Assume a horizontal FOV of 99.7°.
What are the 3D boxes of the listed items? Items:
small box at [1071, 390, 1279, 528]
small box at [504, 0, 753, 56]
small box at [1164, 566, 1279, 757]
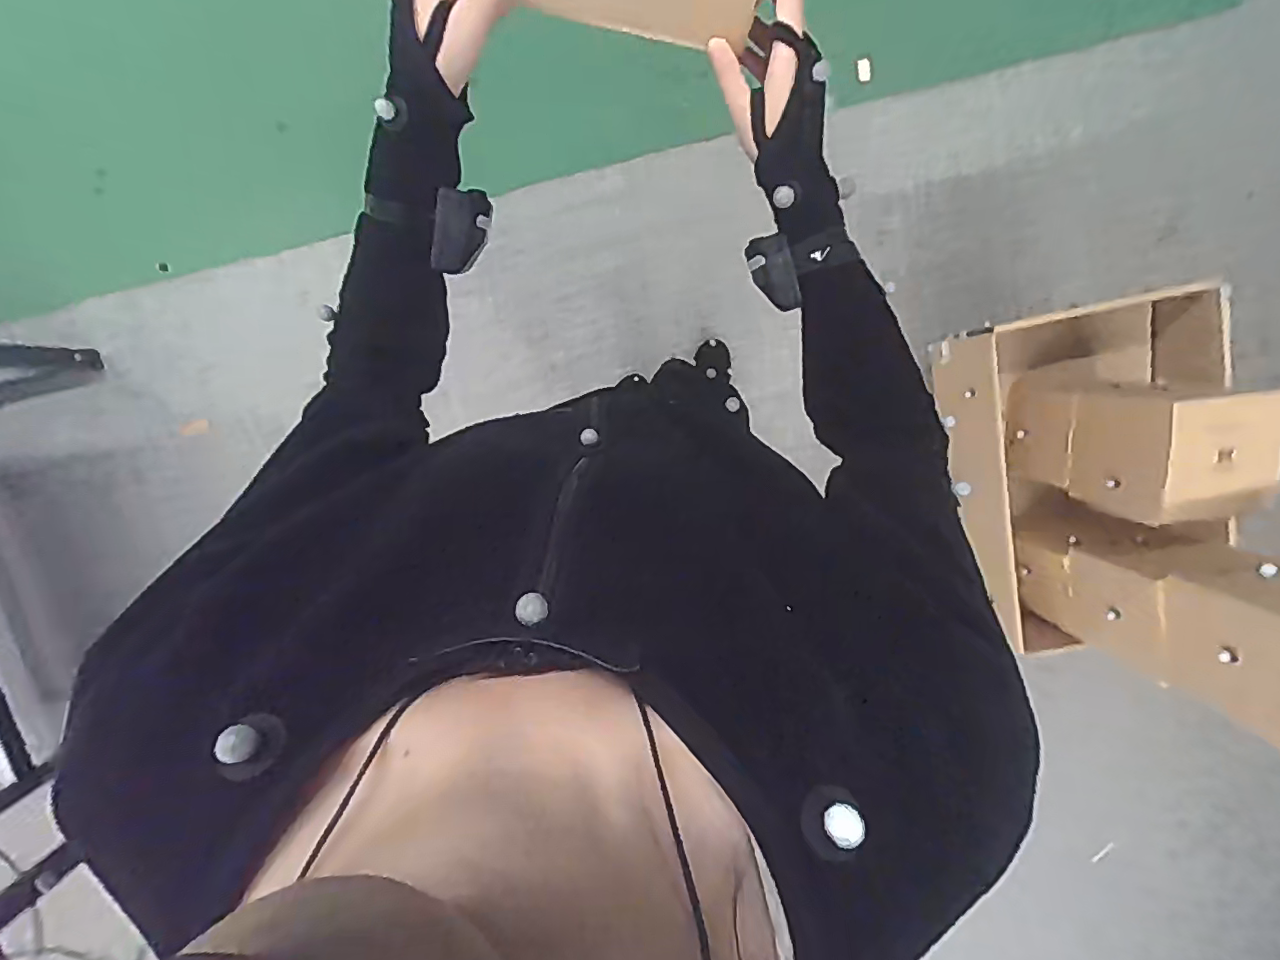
[{"bbox_3d":[0.804,-0.039,0.824,0.168,0.176,0.179,-5,102,0],"label":"small box"},{"bbox_3d":[-0.004,-0.434,0.370,0.179,0.176,0.168,0,144,-15],"label":"small box"},{"bbox_3d":[0.838,0.227,0.702,0.168,0.176,0.179,-8,99,2],"label":"small box"}]
